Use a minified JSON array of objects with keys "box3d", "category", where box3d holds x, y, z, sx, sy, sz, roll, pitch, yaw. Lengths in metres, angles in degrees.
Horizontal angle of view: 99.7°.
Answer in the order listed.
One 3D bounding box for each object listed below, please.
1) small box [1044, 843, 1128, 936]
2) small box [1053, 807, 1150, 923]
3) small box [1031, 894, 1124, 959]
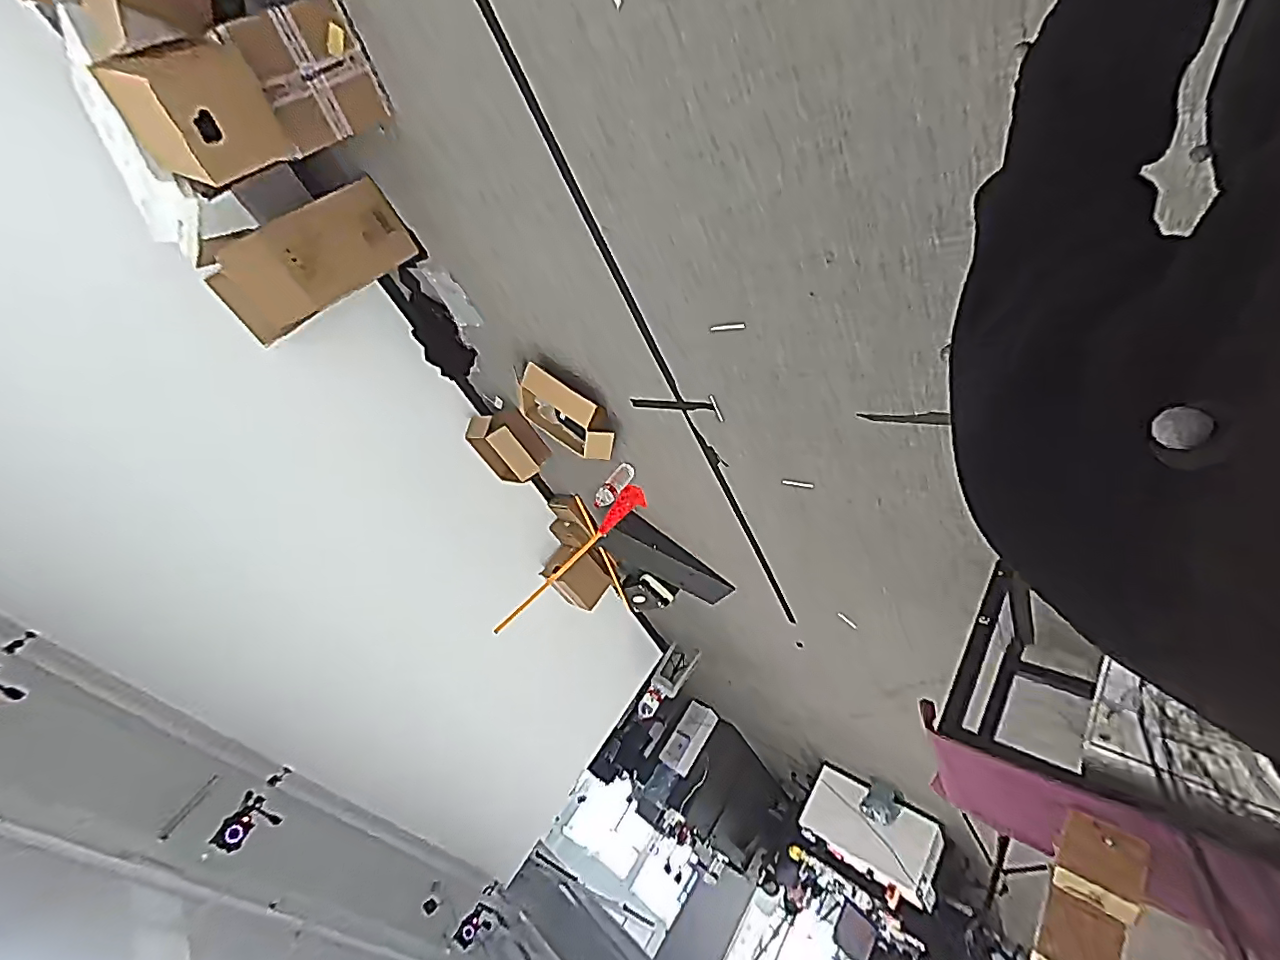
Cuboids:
[{"box3d":[1.326,1.210,1.598,0.179,0.176,0.168,13,143,42],"category":"small box"},{"box3d":[1.216,1.011,1.428,0.168,0.176,0.179,13,144,42],"category":"small box"},{"box3d":[1.233,1.324,1.525,0.179,0.176,0.168,14,142,41],"category":"small box"}]
